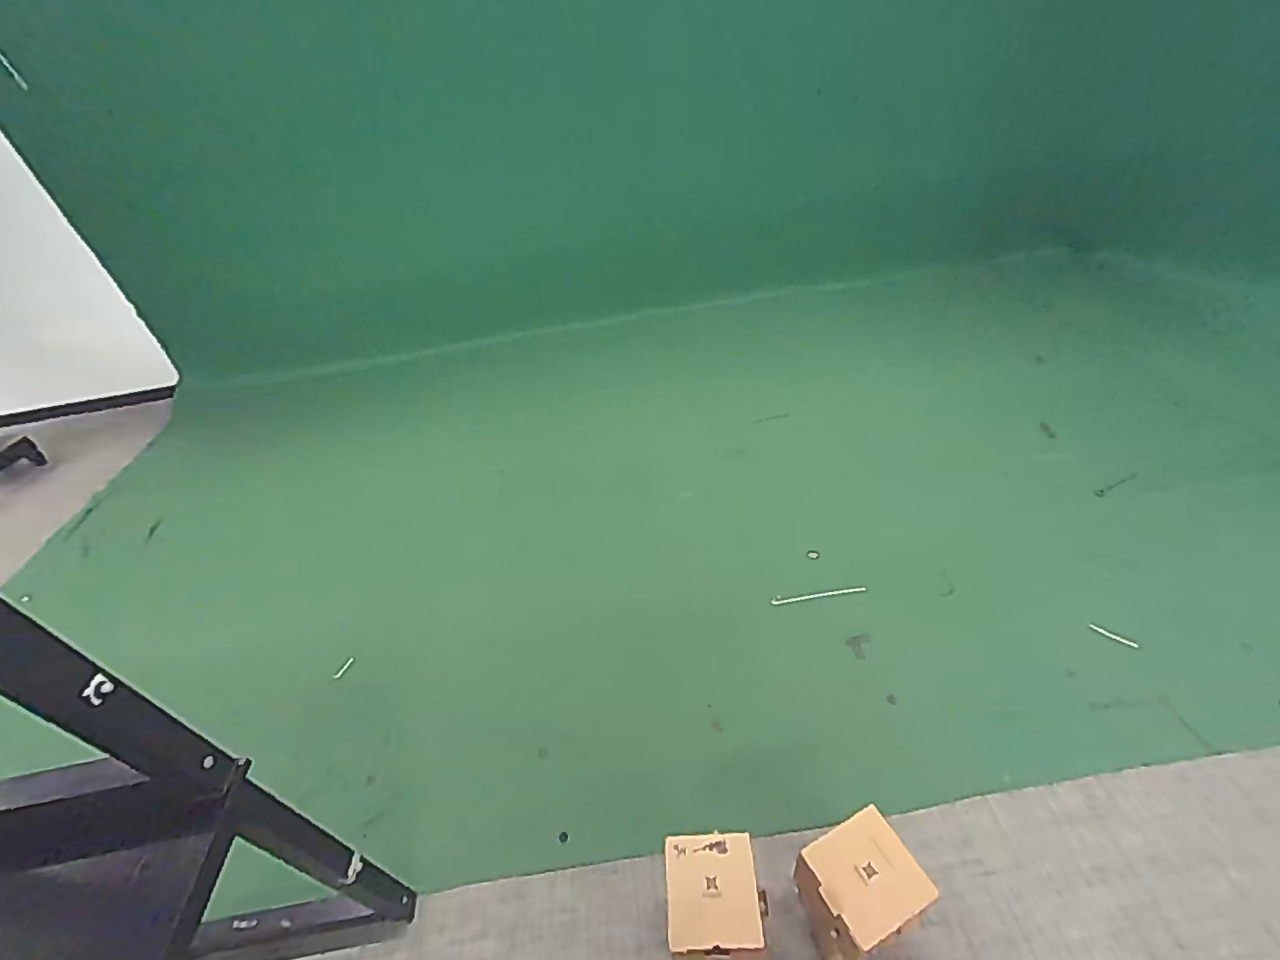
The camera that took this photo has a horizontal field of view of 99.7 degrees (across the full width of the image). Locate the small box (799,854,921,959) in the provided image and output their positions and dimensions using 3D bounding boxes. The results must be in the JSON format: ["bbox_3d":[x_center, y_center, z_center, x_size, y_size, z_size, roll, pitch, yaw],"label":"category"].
[{"bbox_3d":[0.444,0.868,1.126,0.179,0.176,0.168,-14,41,-6],"label":"small box"}]

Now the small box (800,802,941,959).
[{"bbox_3d":[0.417,0.755,1.013,0.179,0.176,0.168,-22,44,-16],"label":"small box"}]

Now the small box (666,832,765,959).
[{"bbox_3d":[0.141,0.792,1.020,0.168,0.176,0.179,-6,41,5],"label":"small box"}]
